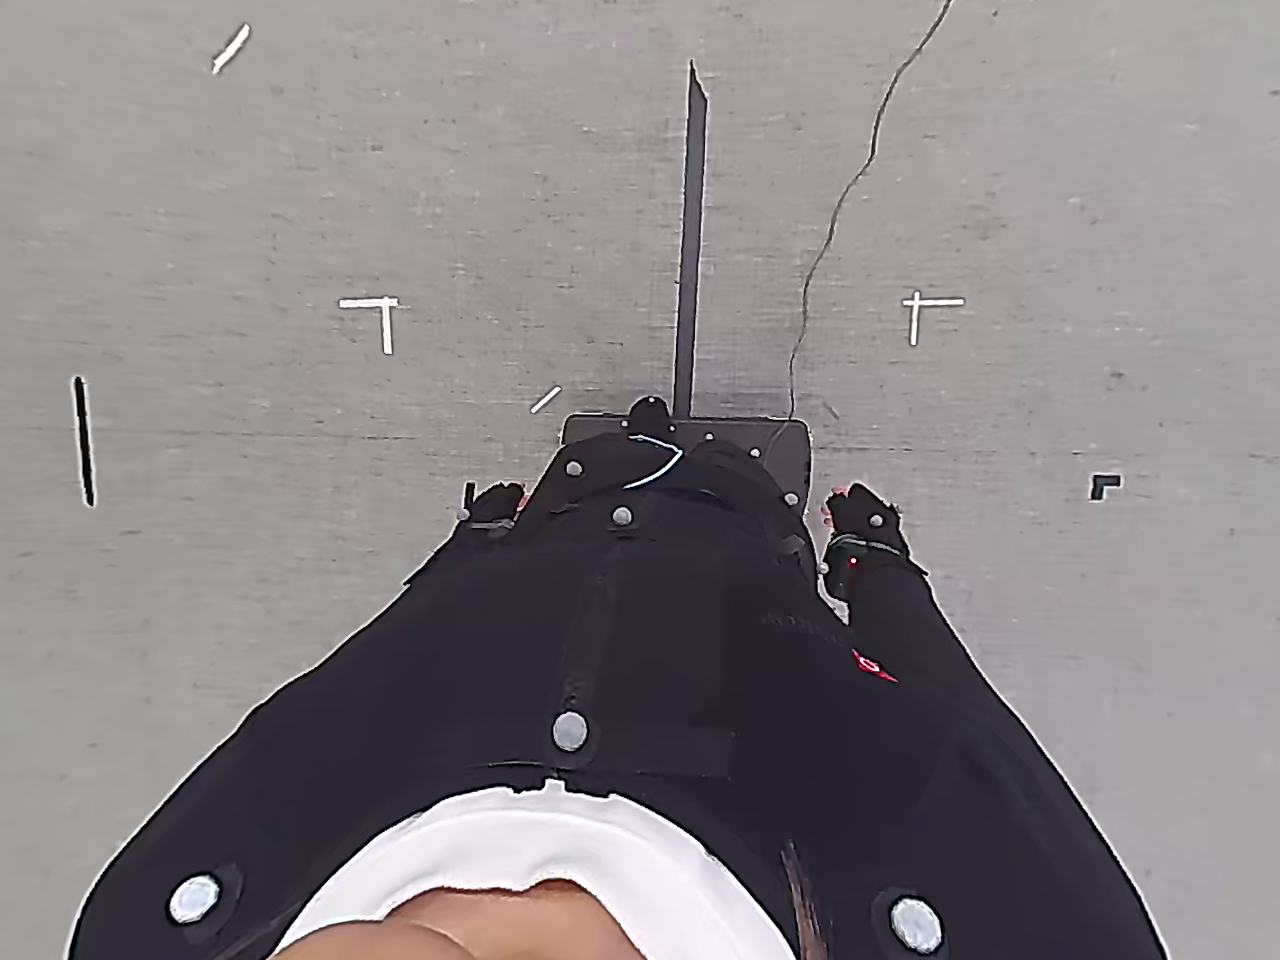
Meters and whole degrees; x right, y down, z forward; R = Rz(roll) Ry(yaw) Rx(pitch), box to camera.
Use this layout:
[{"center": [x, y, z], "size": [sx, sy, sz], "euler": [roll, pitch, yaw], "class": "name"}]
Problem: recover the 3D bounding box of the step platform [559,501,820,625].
[{"center": [0.126, 0.216, 1.454], "size": [0.684, 0.204, 0.286], "euler": [1, 95, 6], "class": "step platform"}]
